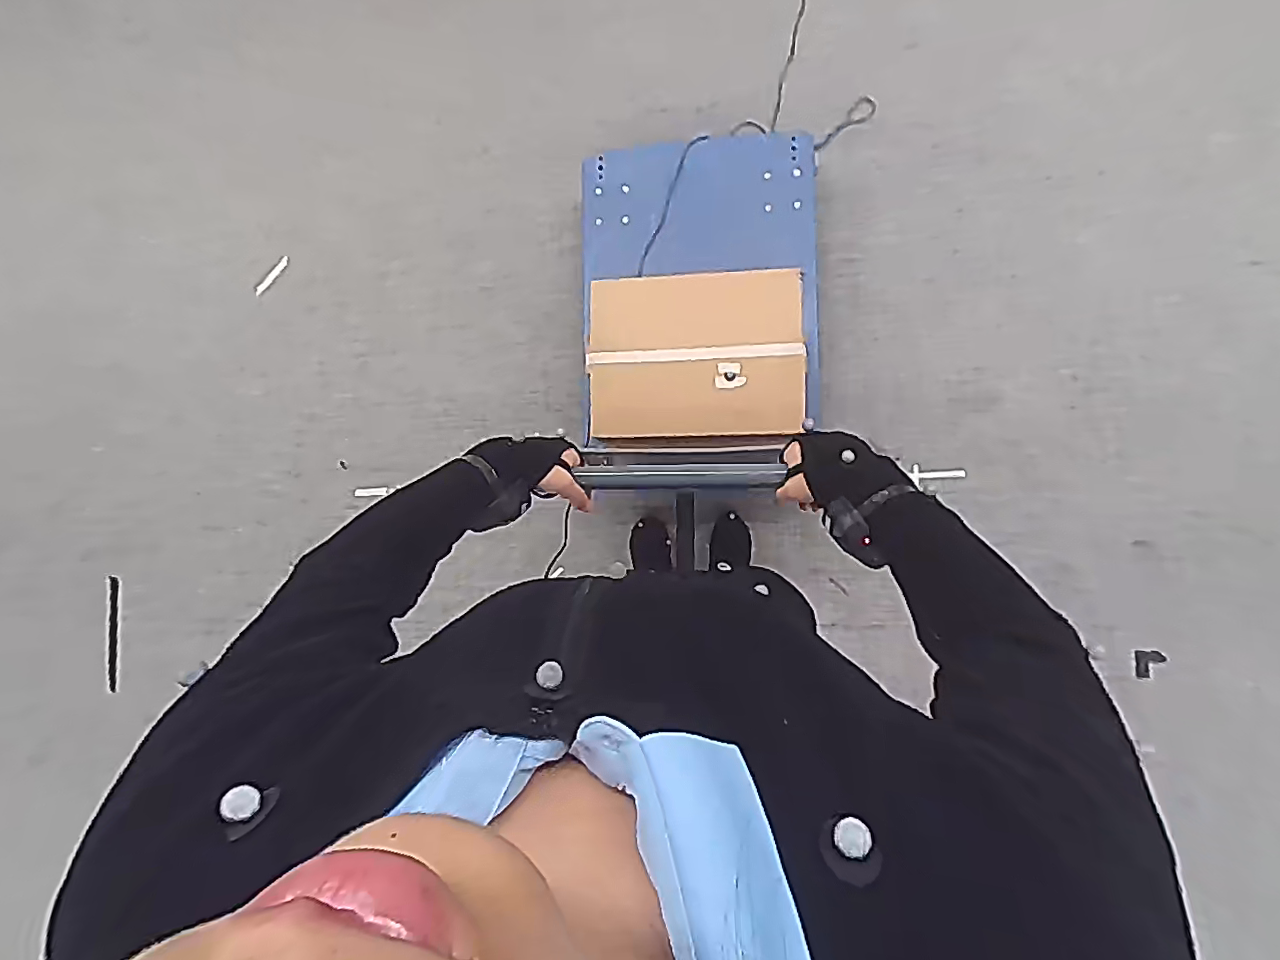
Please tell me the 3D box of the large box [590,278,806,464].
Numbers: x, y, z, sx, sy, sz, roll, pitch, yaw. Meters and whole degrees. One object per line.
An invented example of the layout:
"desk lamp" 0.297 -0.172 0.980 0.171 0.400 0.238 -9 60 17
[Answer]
"large box" 0.118 -0.207 1.161 0.408 0.320 0.320 -1 87 7
